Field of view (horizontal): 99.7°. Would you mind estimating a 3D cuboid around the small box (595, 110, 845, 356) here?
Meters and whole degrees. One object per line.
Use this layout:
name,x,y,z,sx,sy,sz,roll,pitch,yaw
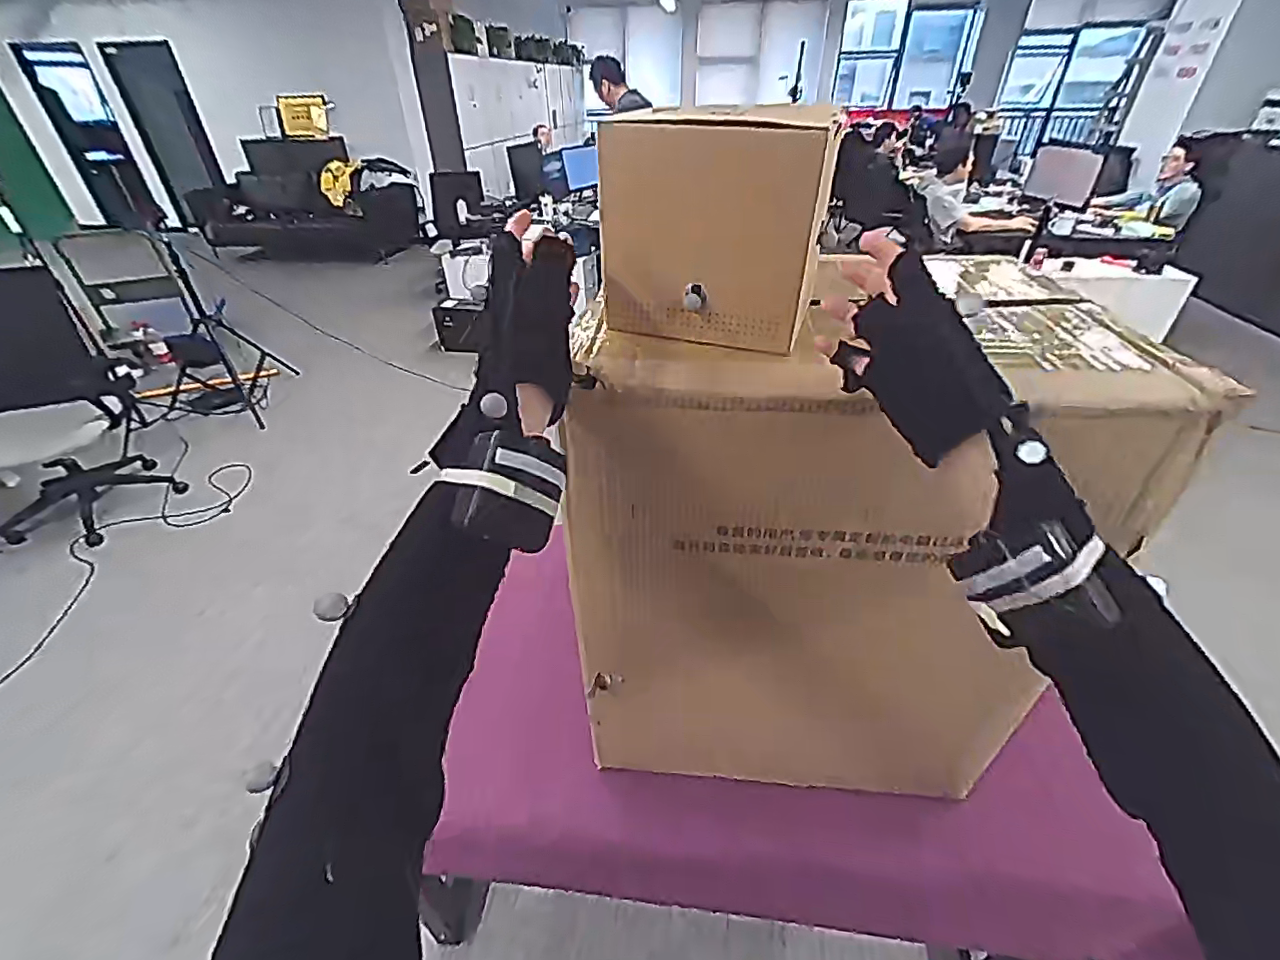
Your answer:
small box,0.074,-0.228,0.496,0.179,0.176,0.168,13,39,16
